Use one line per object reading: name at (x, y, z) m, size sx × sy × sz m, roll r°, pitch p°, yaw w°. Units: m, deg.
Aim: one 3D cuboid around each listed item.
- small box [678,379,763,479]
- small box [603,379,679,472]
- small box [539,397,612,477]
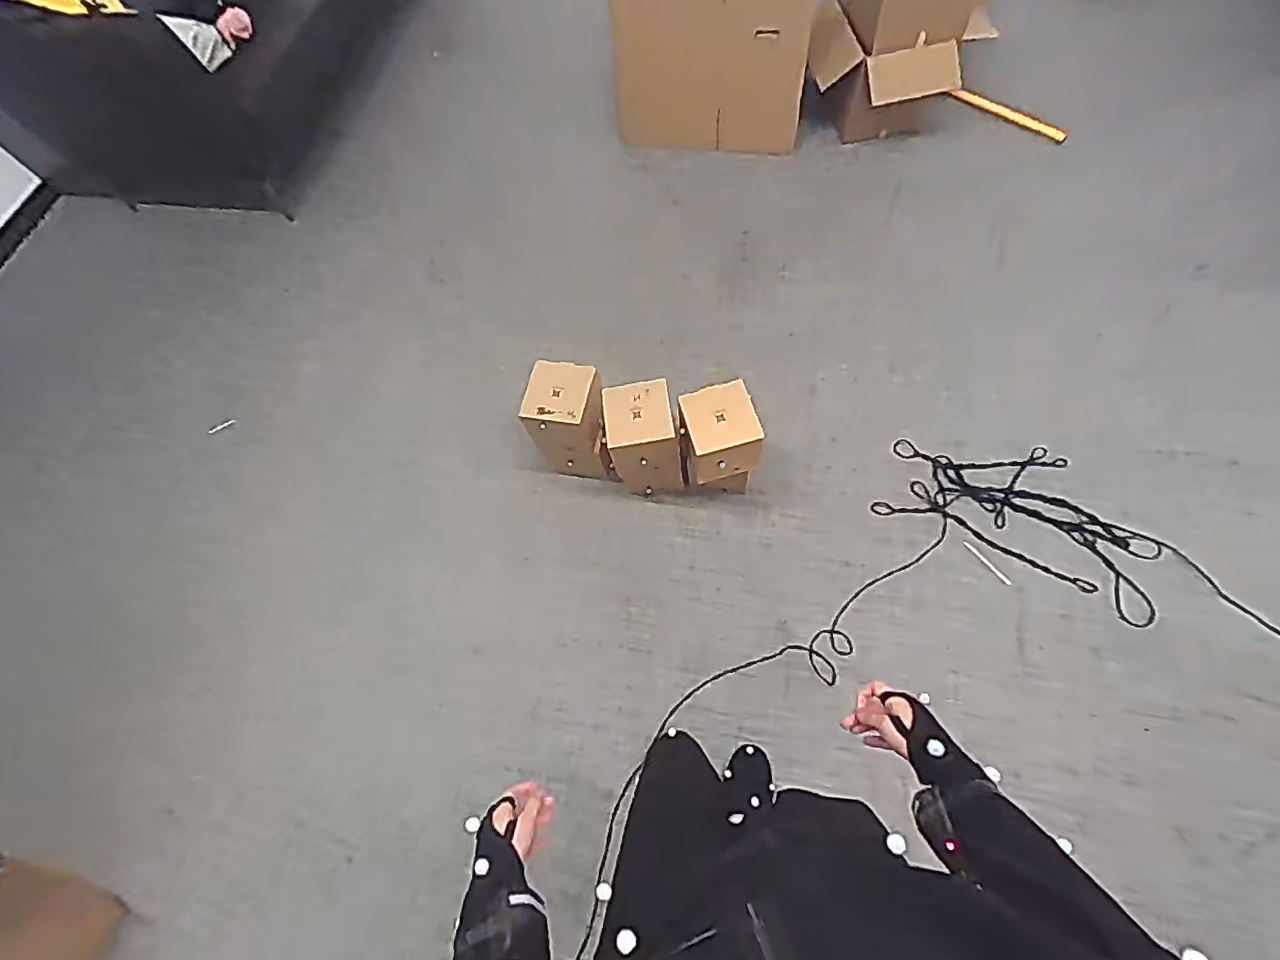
small box at (0.200, -0.117, 1.351) m, size 0.168 × 0.176 × 0.179 m, roll -16°, pitch 63°, yaw 1°
small box at (0.005, -0.131, 1.385) m, size 0.168 × 0.176 × 0.179 m, roll -8°, pitch 64°, yaw 4°
small box at (-0.171, -0.121, 1.583) m, size 0.179 × 0.176 × 0.168 m, roll 7°, pitch 66°, yaw 11°
